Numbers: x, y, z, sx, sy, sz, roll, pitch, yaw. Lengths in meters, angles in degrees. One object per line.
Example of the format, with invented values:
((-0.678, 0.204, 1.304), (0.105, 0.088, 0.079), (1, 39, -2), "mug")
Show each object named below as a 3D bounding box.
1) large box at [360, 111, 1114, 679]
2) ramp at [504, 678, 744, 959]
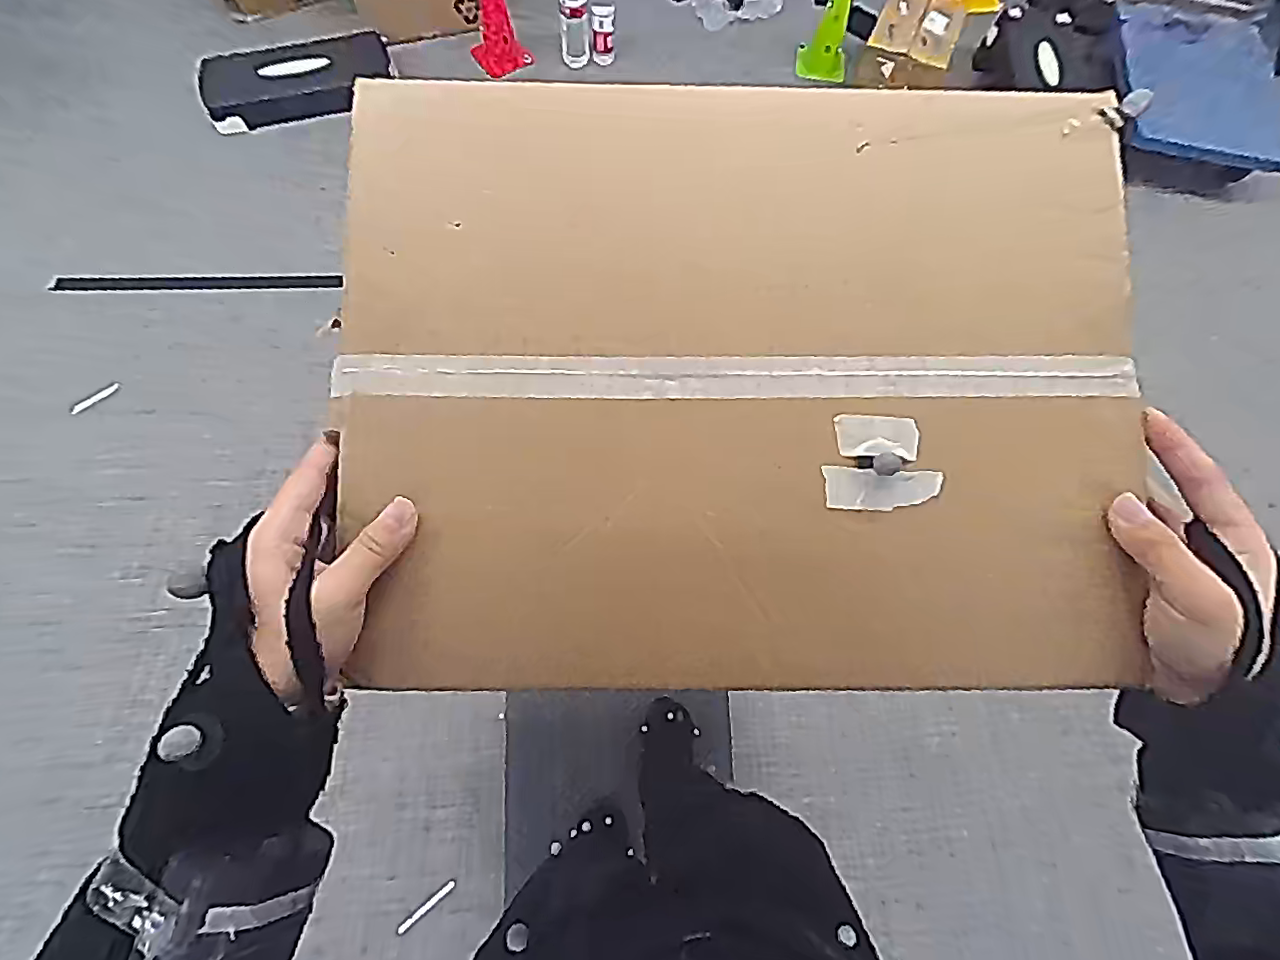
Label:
((0.047, -0.043, 0.440), (0.408, 0.320, 0.320), (0, 87, -1), "large box")
((-0.030, 0.936, 1.108), (0.509, 0.206, 0.991), (-3, 70, -4), "ramp")
